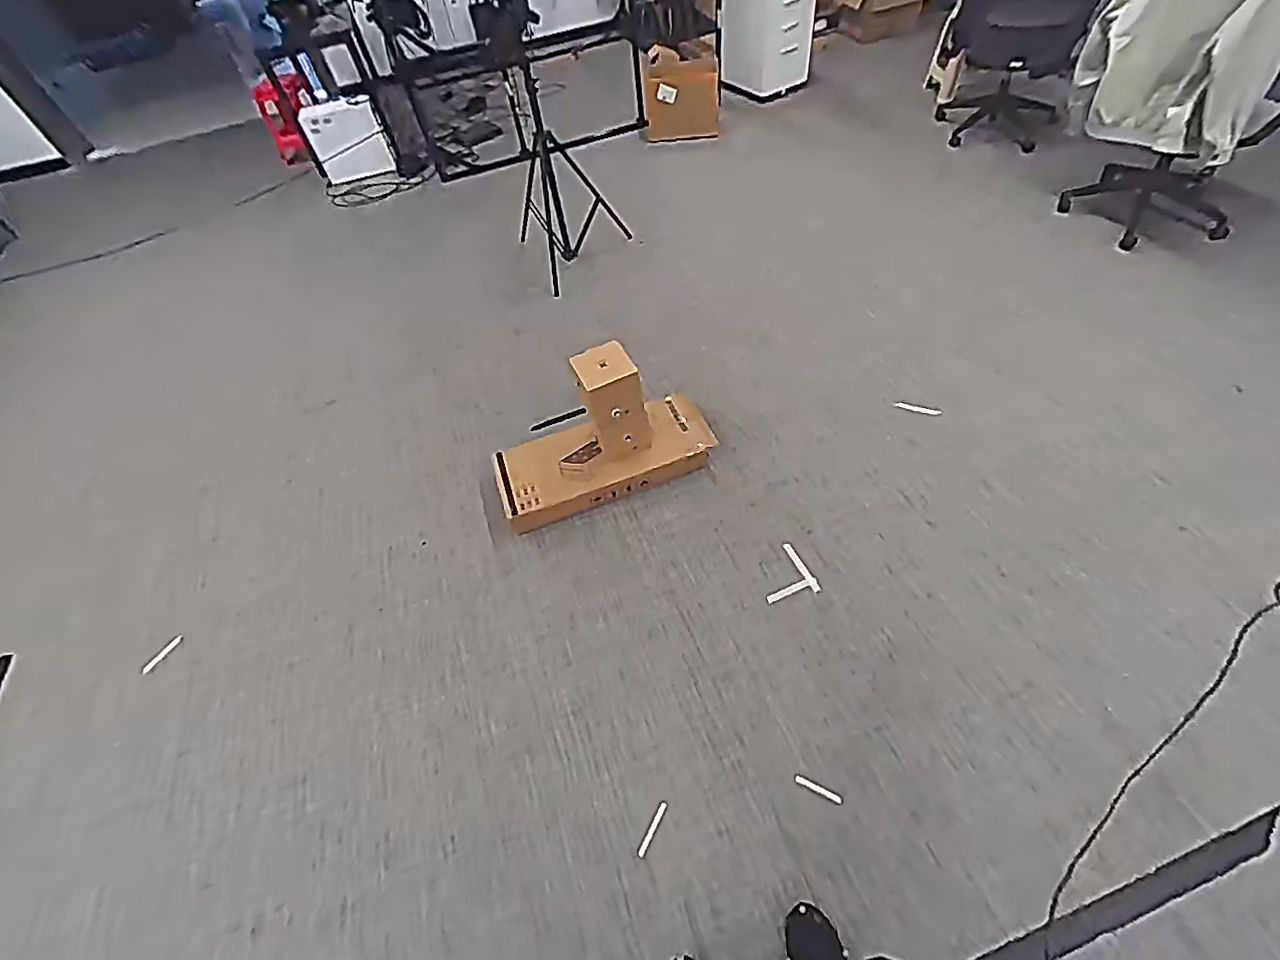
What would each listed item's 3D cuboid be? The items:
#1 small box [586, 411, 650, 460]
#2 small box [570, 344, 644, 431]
[{"bbox_3d":[-0.073,-0.187,1.808,0.168,0.176,0.179,-22,53,-9],"label":"small box"},{"bbox_3d":[-0.099,-0.284,1.680,0.168,0.176,0.179,-24,53,-10],"label":"small box"}]
